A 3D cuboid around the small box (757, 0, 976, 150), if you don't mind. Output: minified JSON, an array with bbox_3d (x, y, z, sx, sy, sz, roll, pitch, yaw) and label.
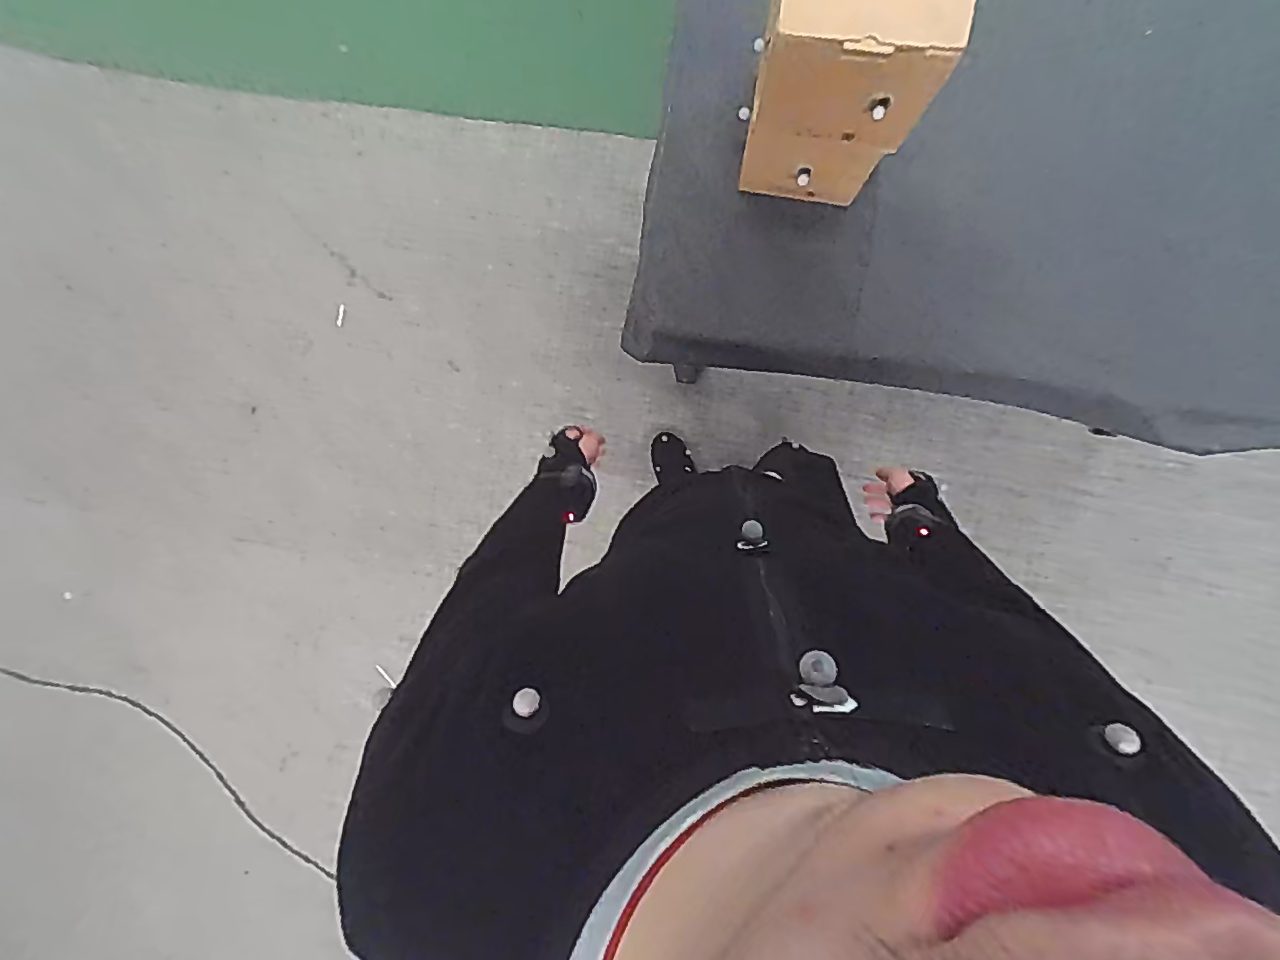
[{"bbox_3d":[0.219,-0.468,0.545,0.168,0.176,0.179,8,93,3],"label":"small box"}]

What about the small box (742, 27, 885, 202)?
[{"bbox_3d":[0.234,-0.492,0.706,0.168,0.176,0.179,11,95,3],"label":"small box"}]
